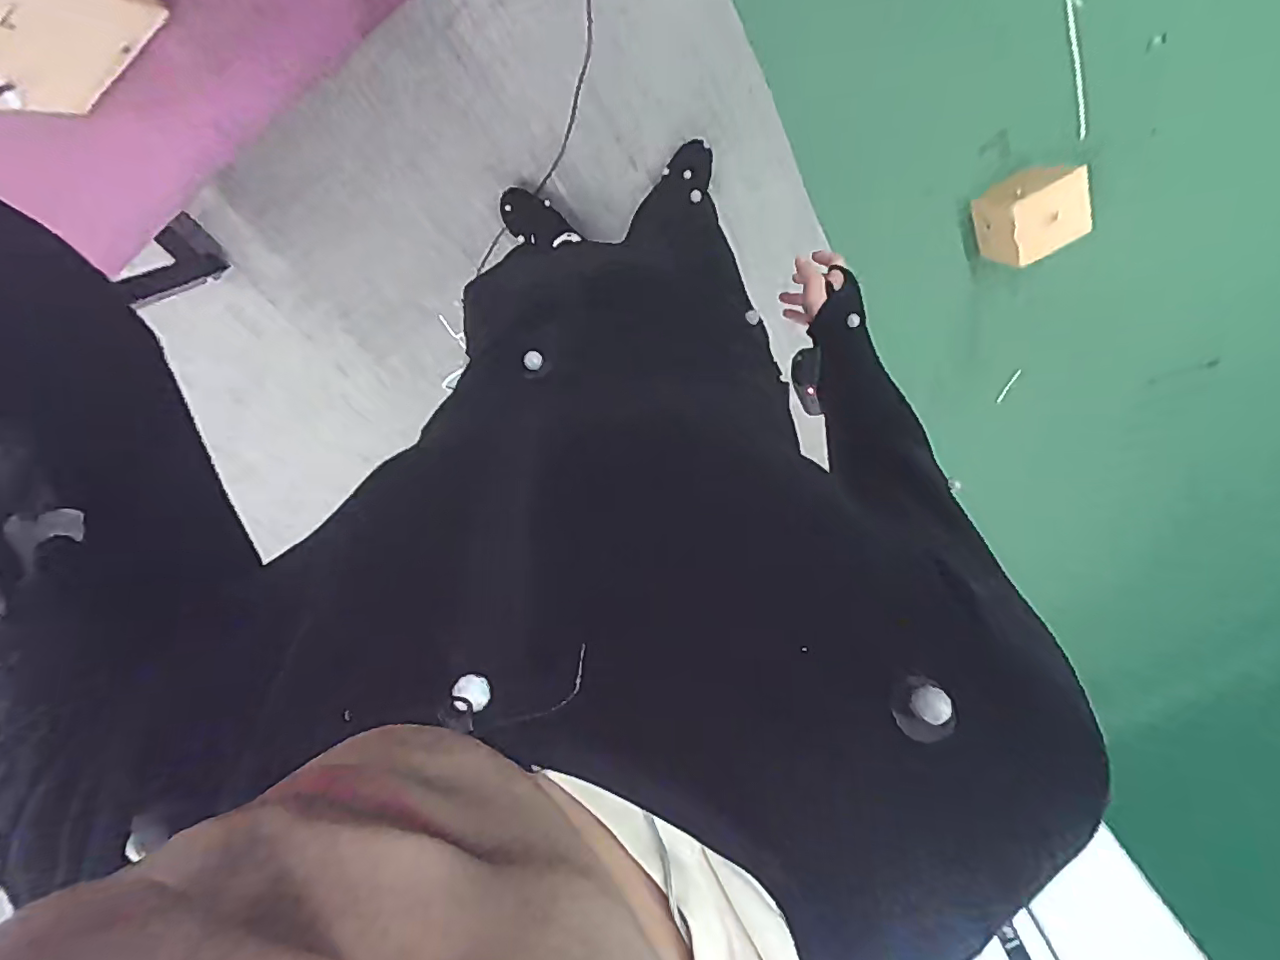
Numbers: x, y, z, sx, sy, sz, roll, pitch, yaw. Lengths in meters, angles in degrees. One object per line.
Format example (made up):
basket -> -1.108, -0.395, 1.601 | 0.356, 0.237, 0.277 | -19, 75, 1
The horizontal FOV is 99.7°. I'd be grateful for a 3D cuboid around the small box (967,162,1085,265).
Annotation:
small box -> 0.977, -0.683, 1.377 | 0.179, 0.176, 0.168 | -28, 121, 13
